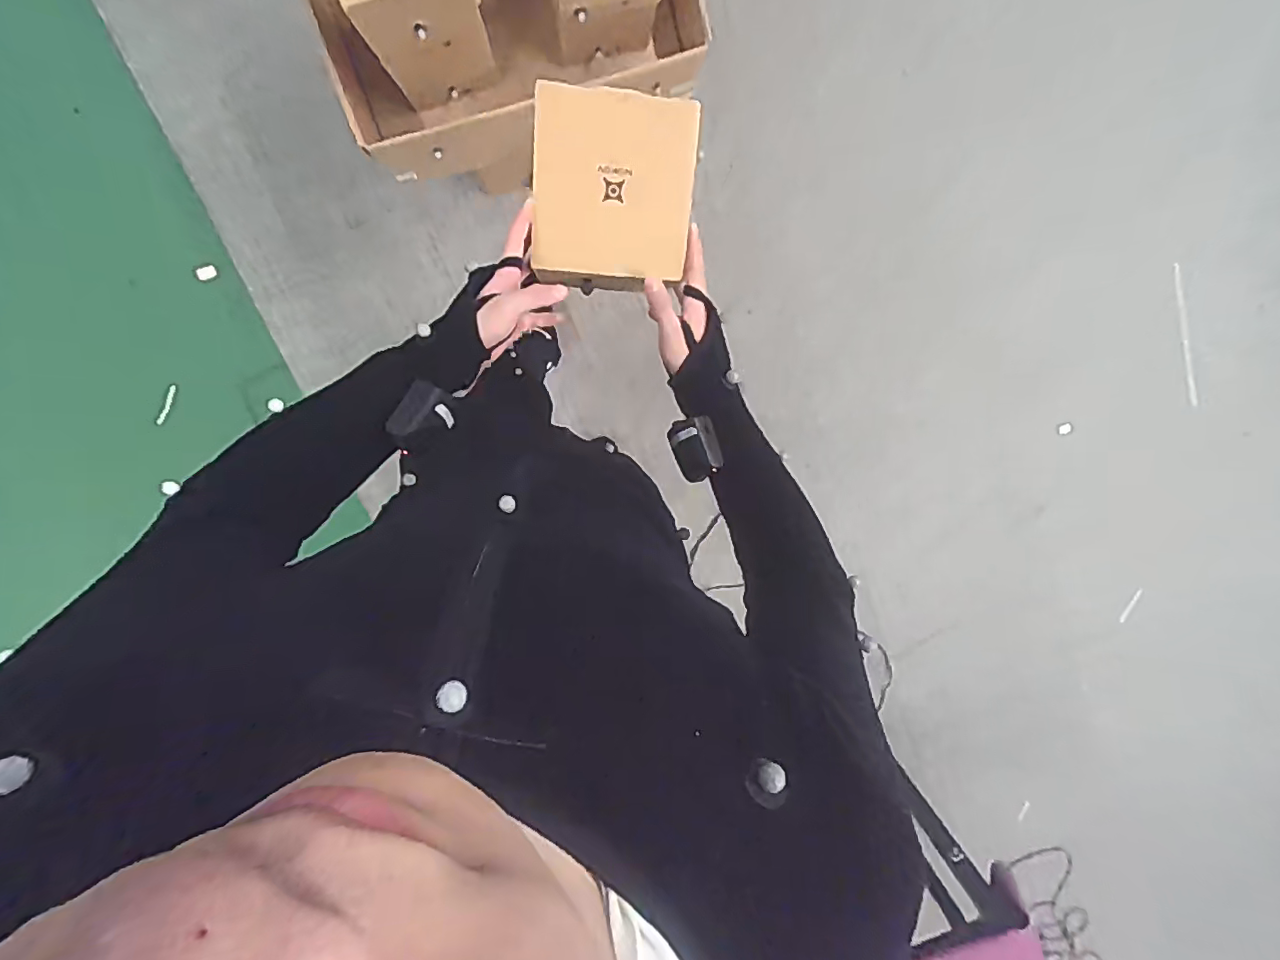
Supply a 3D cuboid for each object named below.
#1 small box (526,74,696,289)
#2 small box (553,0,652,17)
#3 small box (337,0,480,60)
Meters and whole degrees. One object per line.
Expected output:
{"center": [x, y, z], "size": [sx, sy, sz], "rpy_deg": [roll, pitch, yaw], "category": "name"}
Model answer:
{"center": [-0.037, -0.325, 0.629], "size": [0.168, 0.176, 0.179], "rpy_deg": [3, 103, -6], "category": "small box"}
{"center": [-0.062, -0.792, 0.751], "size": [0.168, 0.176, 0.179], "rpy_deg": [-15, 104, -1], "category": "small box"}
{"center": [-0.336, -0.719, 0.741], "size": [0.168, 0.176, 0.179], "rpy_deg": [-19, 106, -1], "category": "small box"}
